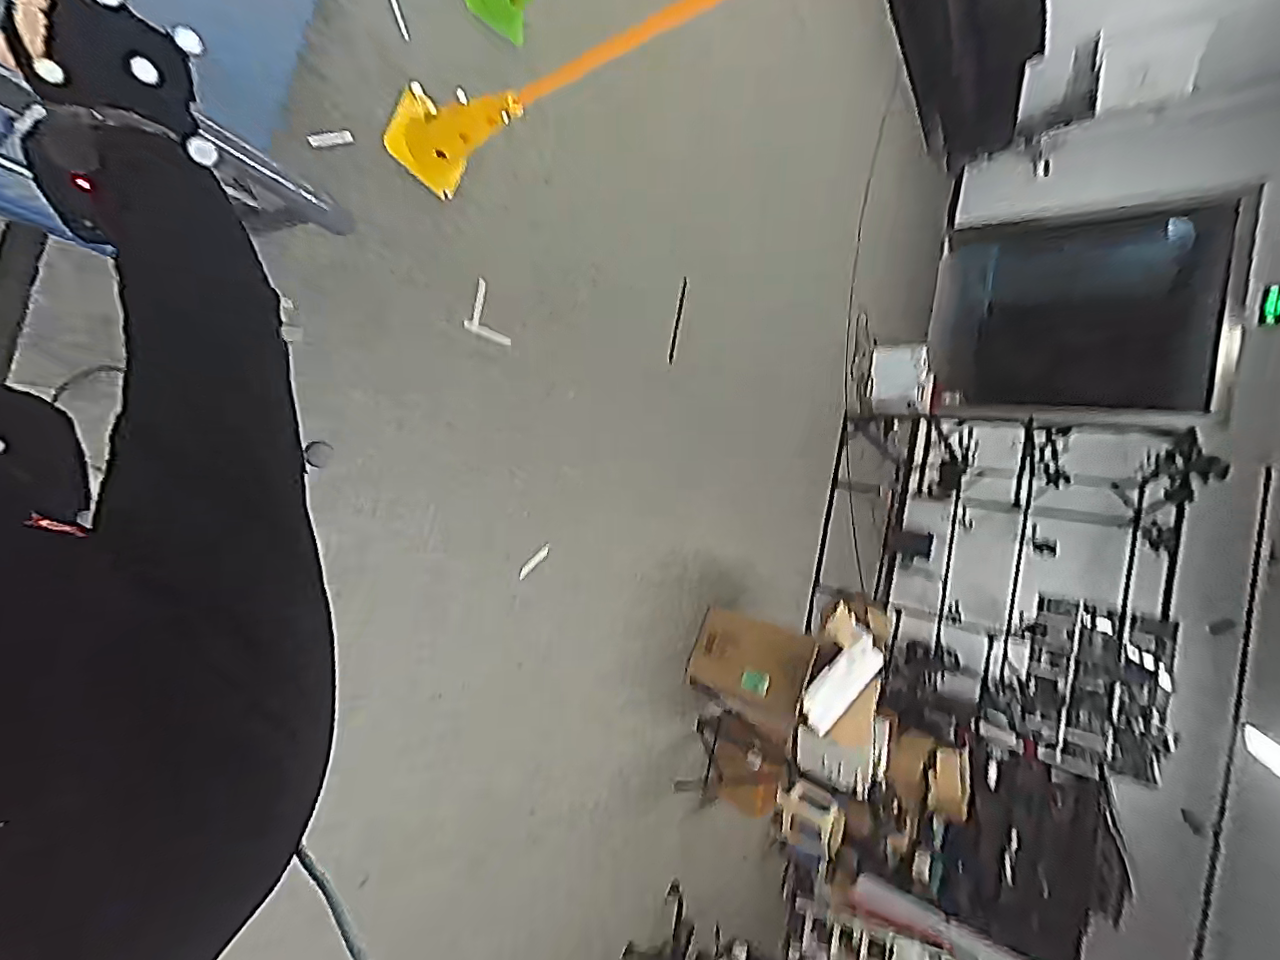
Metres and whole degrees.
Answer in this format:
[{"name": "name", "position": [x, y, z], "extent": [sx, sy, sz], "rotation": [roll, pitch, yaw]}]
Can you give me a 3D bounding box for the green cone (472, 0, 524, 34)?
[{"name": "green cone", "position": [-0.265, -1.365, 1.392], "extent": [0.200, 0.368, 0.202], "rotation": [-7, 104, -52]}]
